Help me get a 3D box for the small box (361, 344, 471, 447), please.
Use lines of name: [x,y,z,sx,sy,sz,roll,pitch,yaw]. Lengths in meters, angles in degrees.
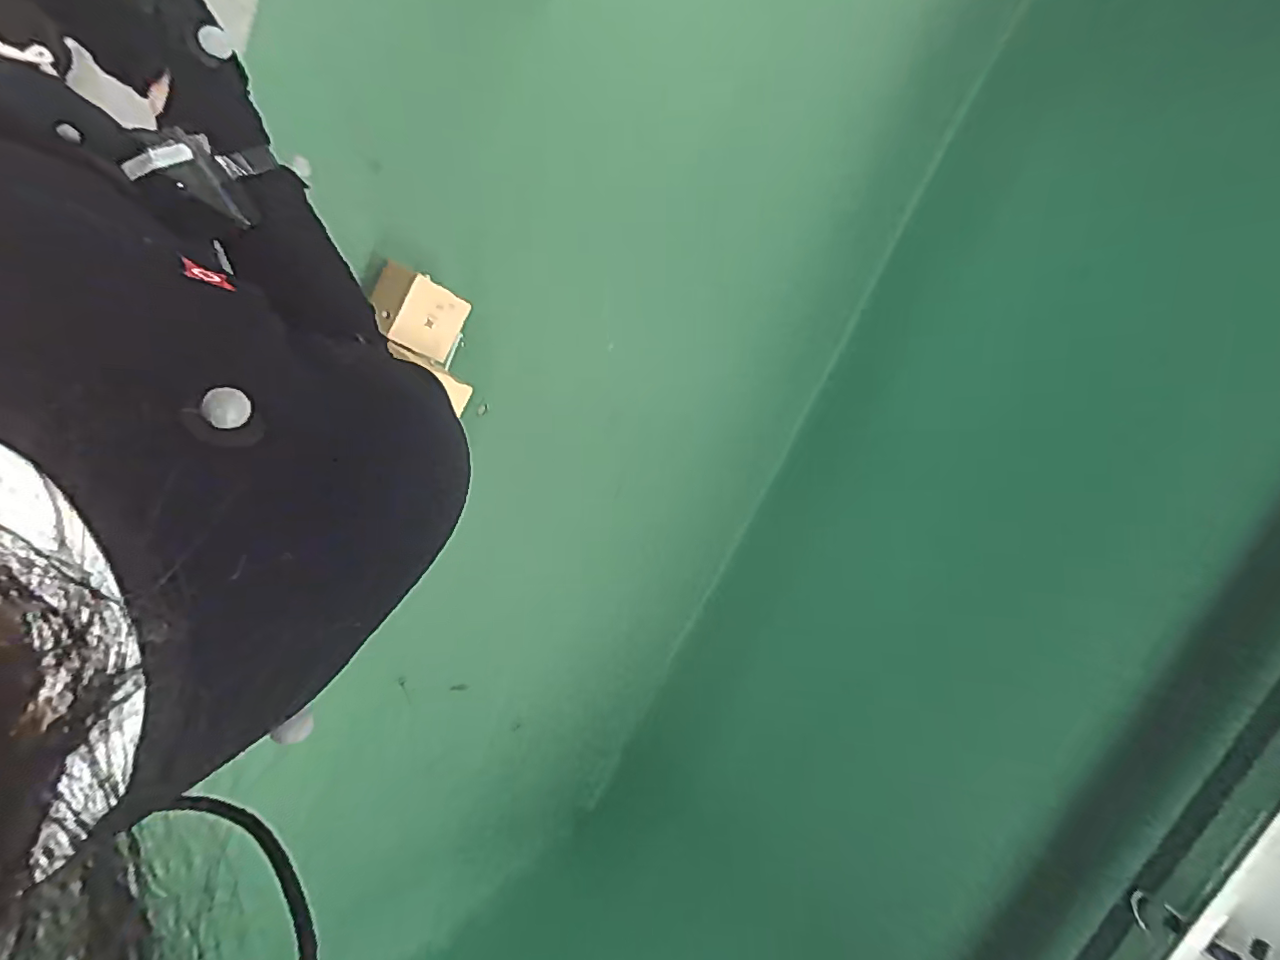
small box: [-0.562,-0.211,1.342,0.168,0.176,0.179,24,95,-54]
